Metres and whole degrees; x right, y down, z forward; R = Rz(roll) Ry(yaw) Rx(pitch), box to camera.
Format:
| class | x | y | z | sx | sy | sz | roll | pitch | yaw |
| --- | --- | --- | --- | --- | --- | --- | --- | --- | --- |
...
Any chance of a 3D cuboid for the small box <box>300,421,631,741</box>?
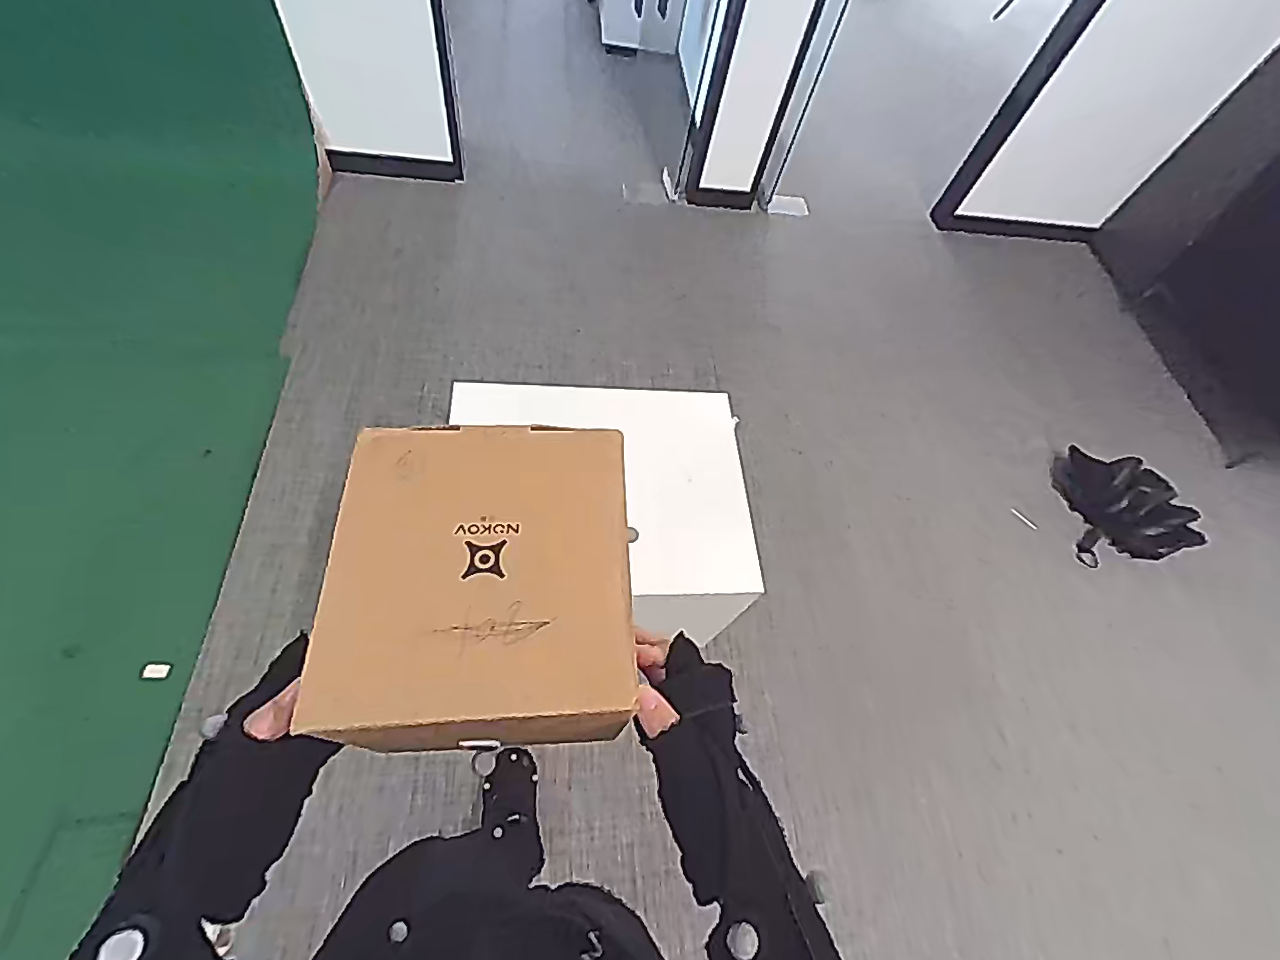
| class | x | y | z | sx | sy | sz | roll | pitch | yaw |
| --- | --- | --- | --- | --- | --- | --- | --- | --- | --- |
| small box | -0.099 | 0.077 | 0.381 | 0.168 | 0.176 | 0.179 | -1 | 61 | -7 |
